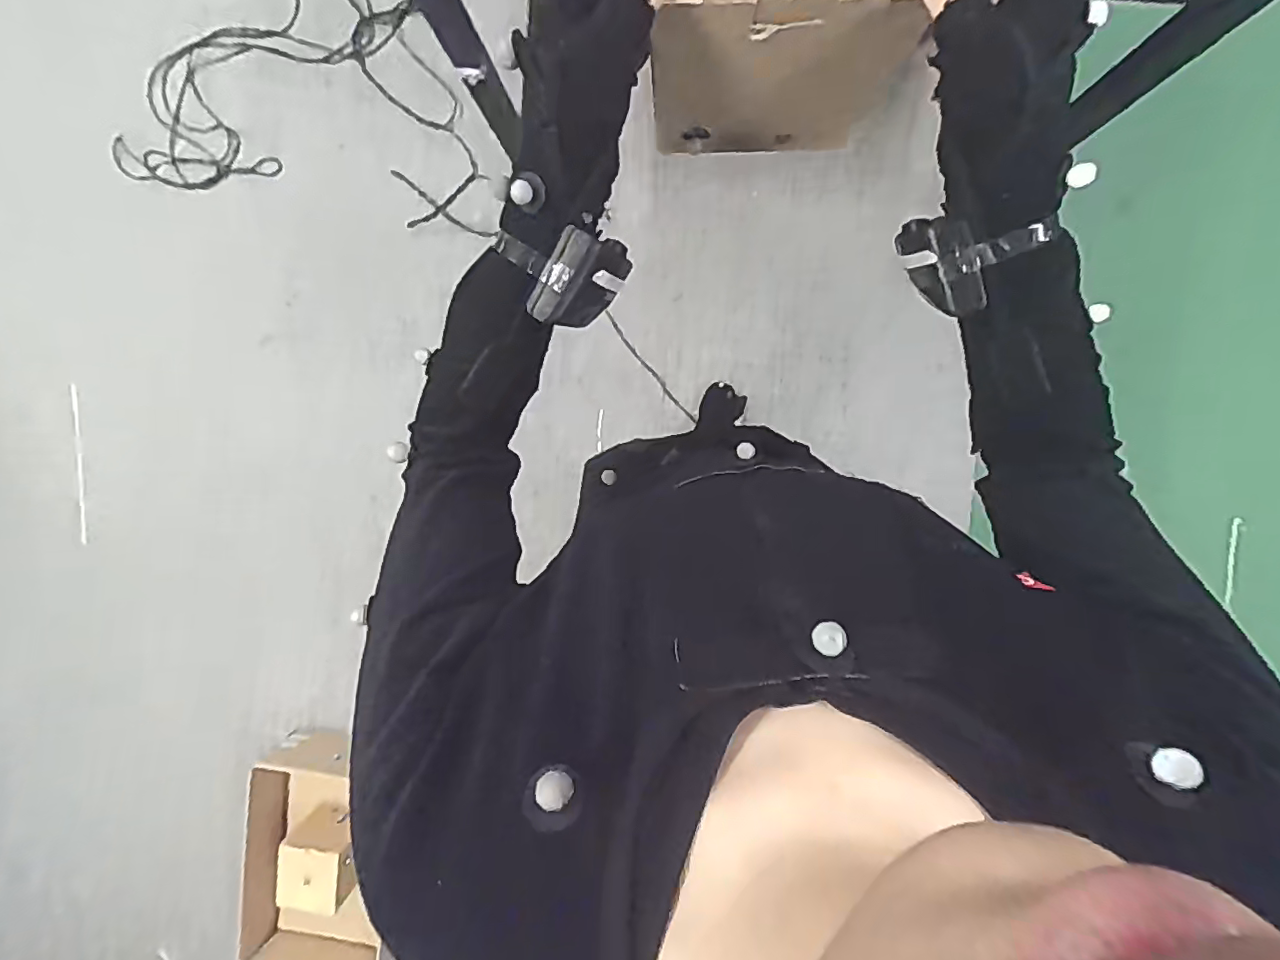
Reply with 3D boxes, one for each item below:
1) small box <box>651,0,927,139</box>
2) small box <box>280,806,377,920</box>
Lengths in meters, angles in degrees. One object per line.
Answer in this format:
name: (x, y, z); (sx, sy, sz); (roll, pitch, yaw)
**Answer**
small box: (0.096, -0.360, 0.369); (0.168, 0.176, 0.179); (1, 94, 5)
small box: (-0.843, 1.037, 1.476); (0.168, 0.176, 0.179); (7, 95, 5)
